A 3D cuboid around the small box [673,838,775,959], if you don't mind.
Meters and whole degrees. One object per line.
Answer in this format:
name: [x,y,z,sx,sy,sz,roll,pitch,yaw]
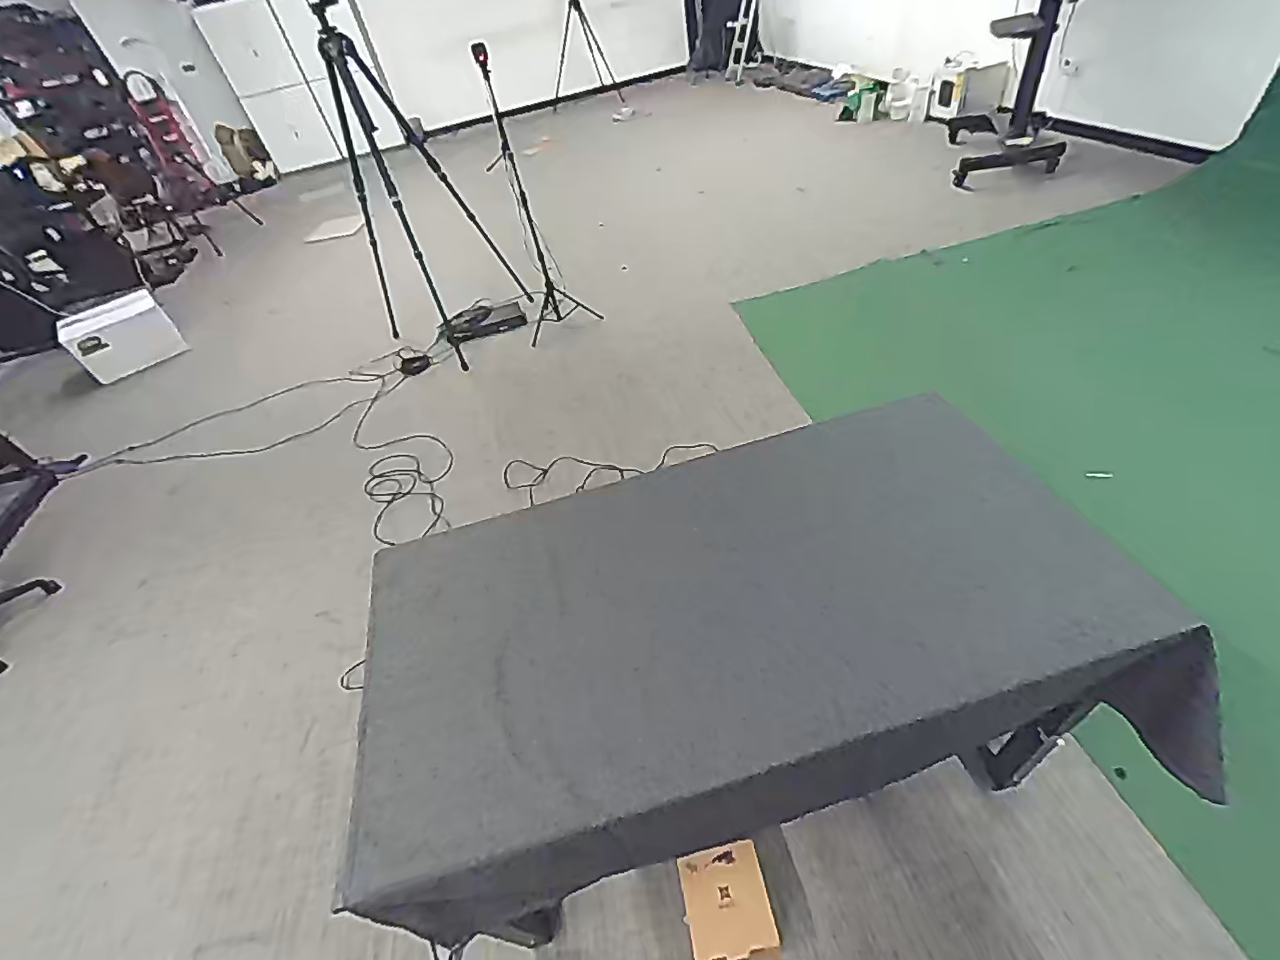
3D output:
small box: [0.174,0.870,1.111,0.168,0.176,0.179,-14,44,0]
